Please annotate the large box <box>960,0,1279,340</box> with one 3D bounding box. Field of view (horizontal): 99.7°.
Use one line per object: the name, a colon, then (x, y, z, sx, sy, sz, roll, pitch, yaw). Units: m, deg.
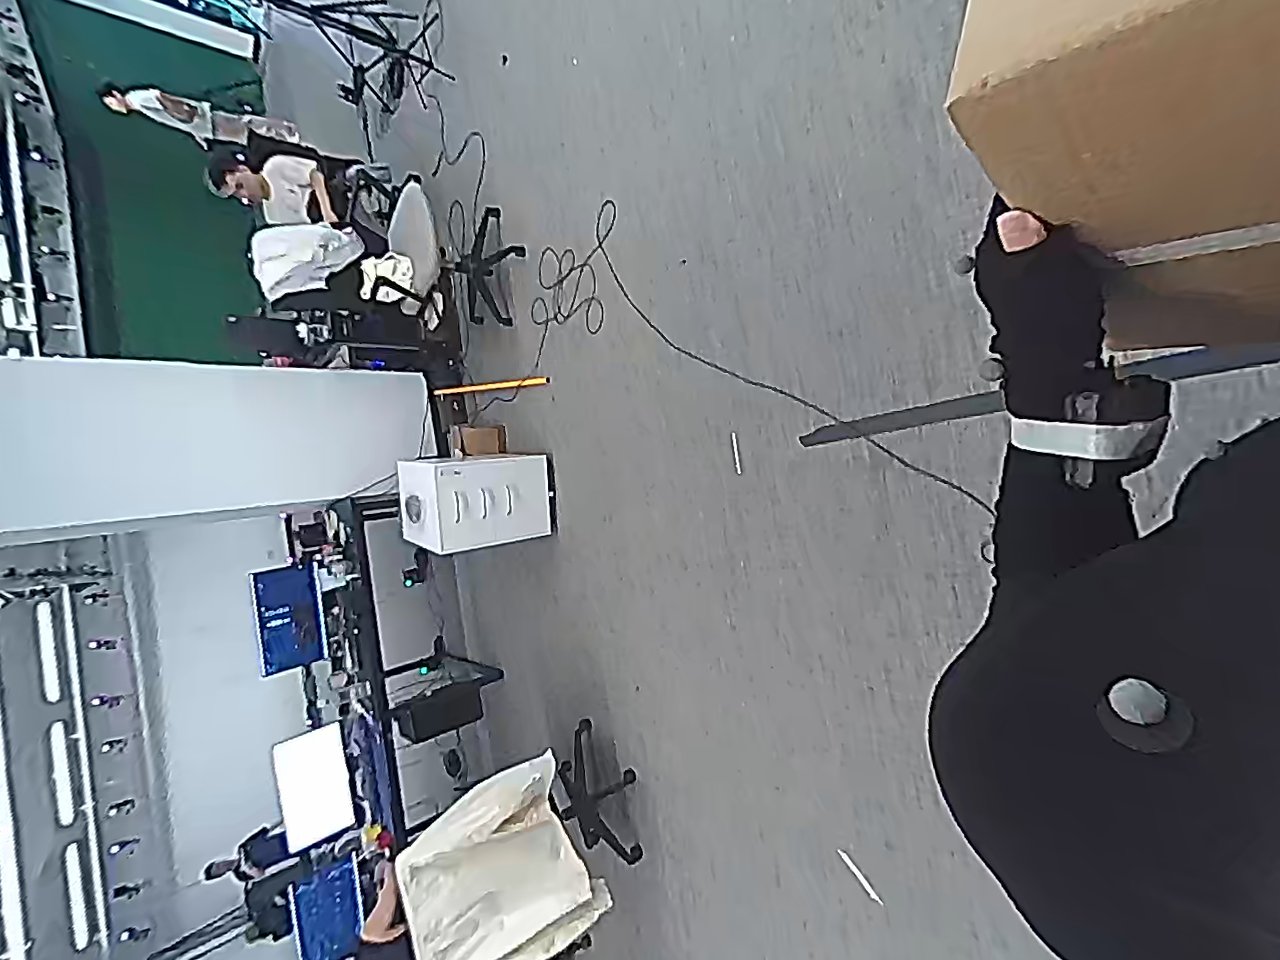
large box: (0.408, -0.268, 0.185, 0.408, 0.320, 0.320, 10, 86, 52)
